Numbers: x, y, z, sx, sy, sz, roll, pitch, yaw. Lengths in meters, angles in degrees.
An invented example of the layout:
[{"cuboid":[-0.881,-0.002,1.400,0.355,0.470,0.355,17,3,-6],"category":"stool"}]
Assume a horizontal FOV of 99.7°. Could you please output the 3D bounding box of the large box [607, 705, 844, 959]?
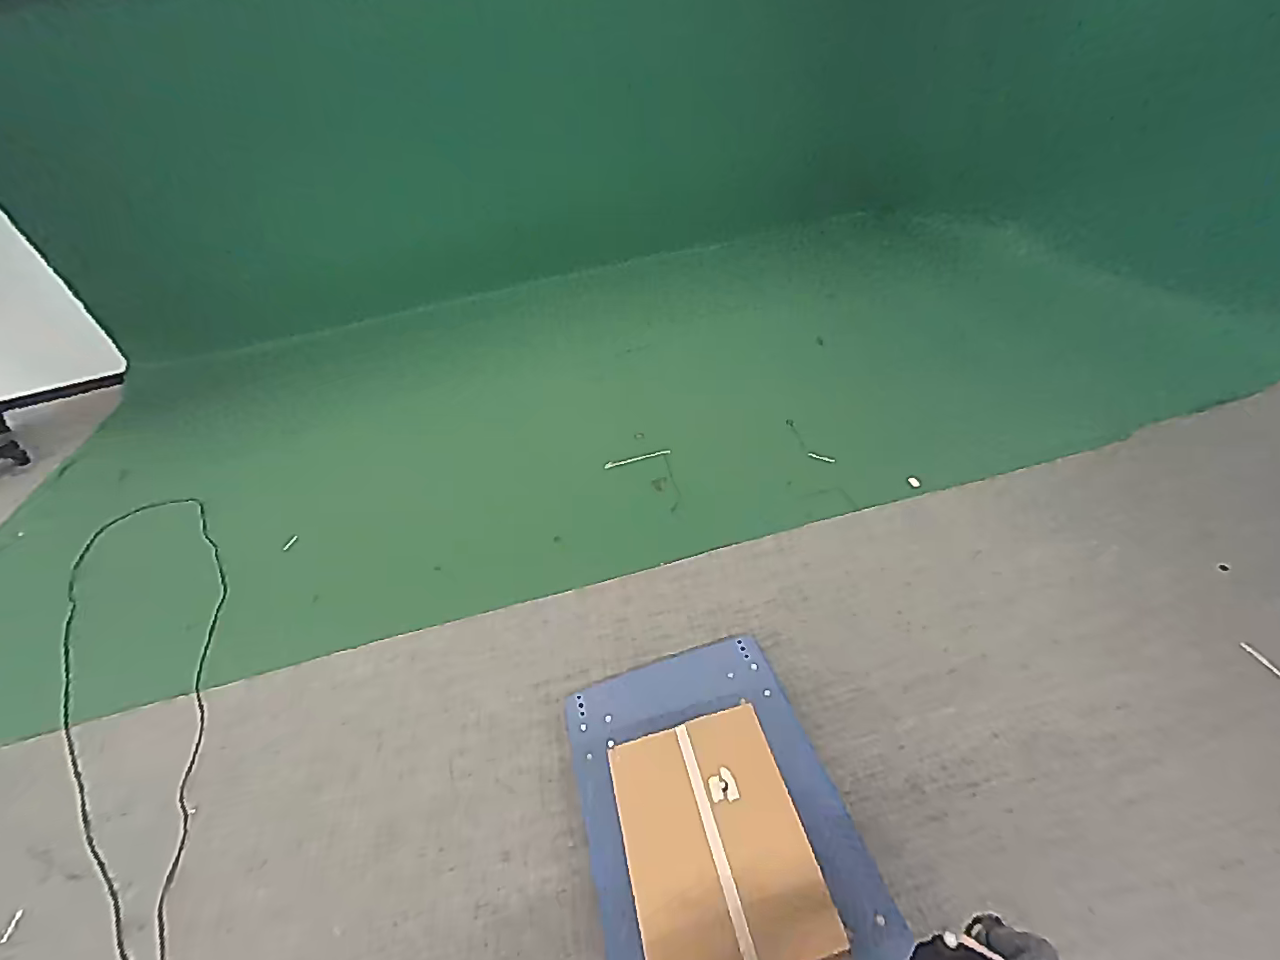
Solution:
[{"cuboid":[0.150,0.741,1.062,0.320,0.320,0.408,-15,40,-4],"category":"large box"}]
